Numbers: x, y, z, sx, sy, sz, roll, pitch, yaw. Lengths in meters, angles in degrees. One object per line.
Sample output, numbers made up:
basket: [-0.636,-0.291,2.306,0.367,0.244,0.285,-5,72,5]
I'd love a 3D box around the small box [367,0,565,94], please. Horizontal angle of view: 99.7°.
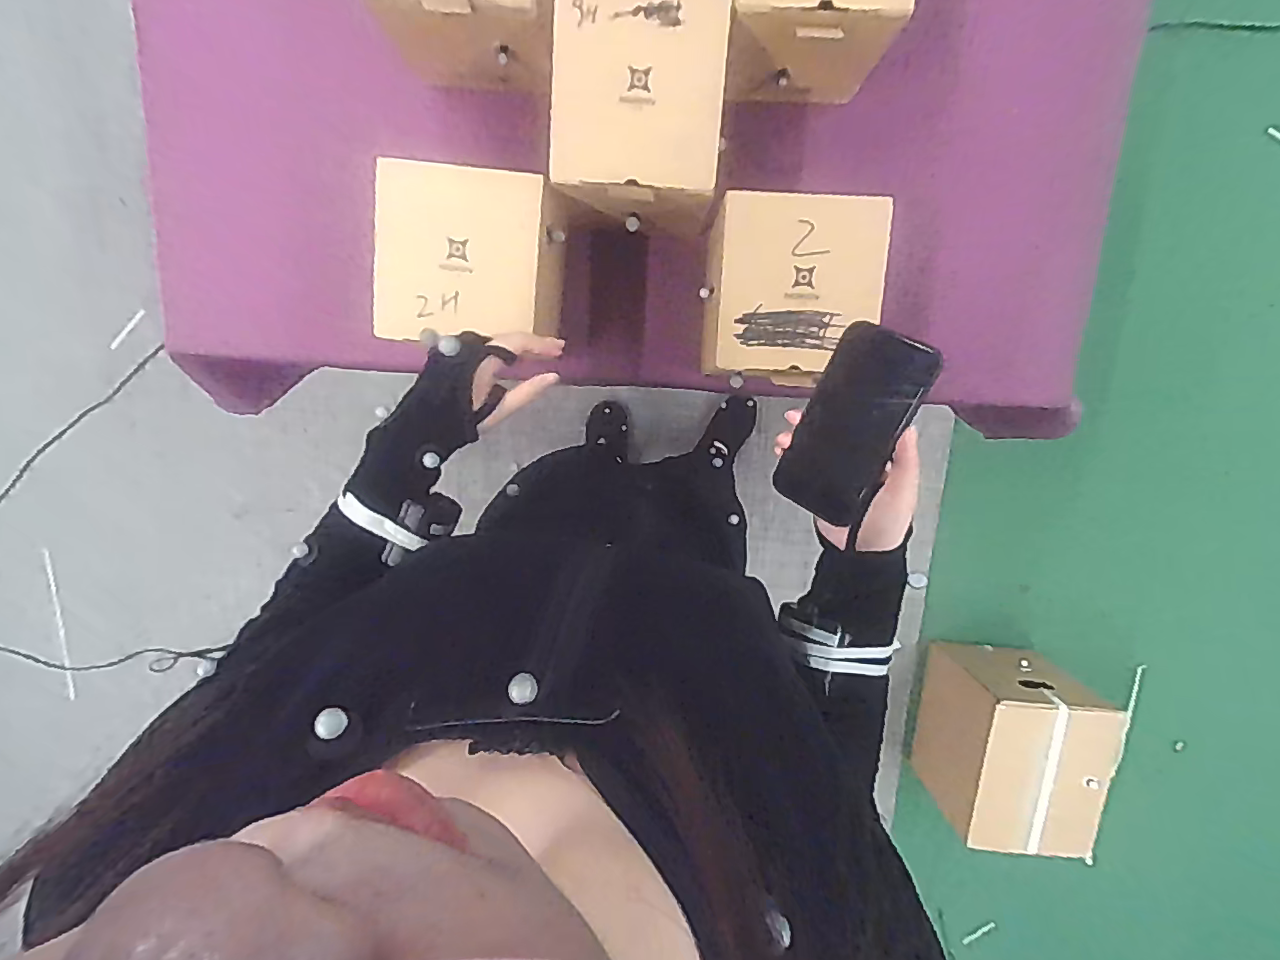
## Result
small box: [-0.170,-0.543,0.568,0.168,0.176,0.179,4,101,-1]

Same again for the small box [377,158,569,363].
small box: [-0.179,-0.235,0.624,0.168,0.176,0.179,7,100,0]

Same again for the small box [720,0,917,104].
small box: [0.179,-0.532,0.565,0.168,0.176,0.179,2,102,1]
